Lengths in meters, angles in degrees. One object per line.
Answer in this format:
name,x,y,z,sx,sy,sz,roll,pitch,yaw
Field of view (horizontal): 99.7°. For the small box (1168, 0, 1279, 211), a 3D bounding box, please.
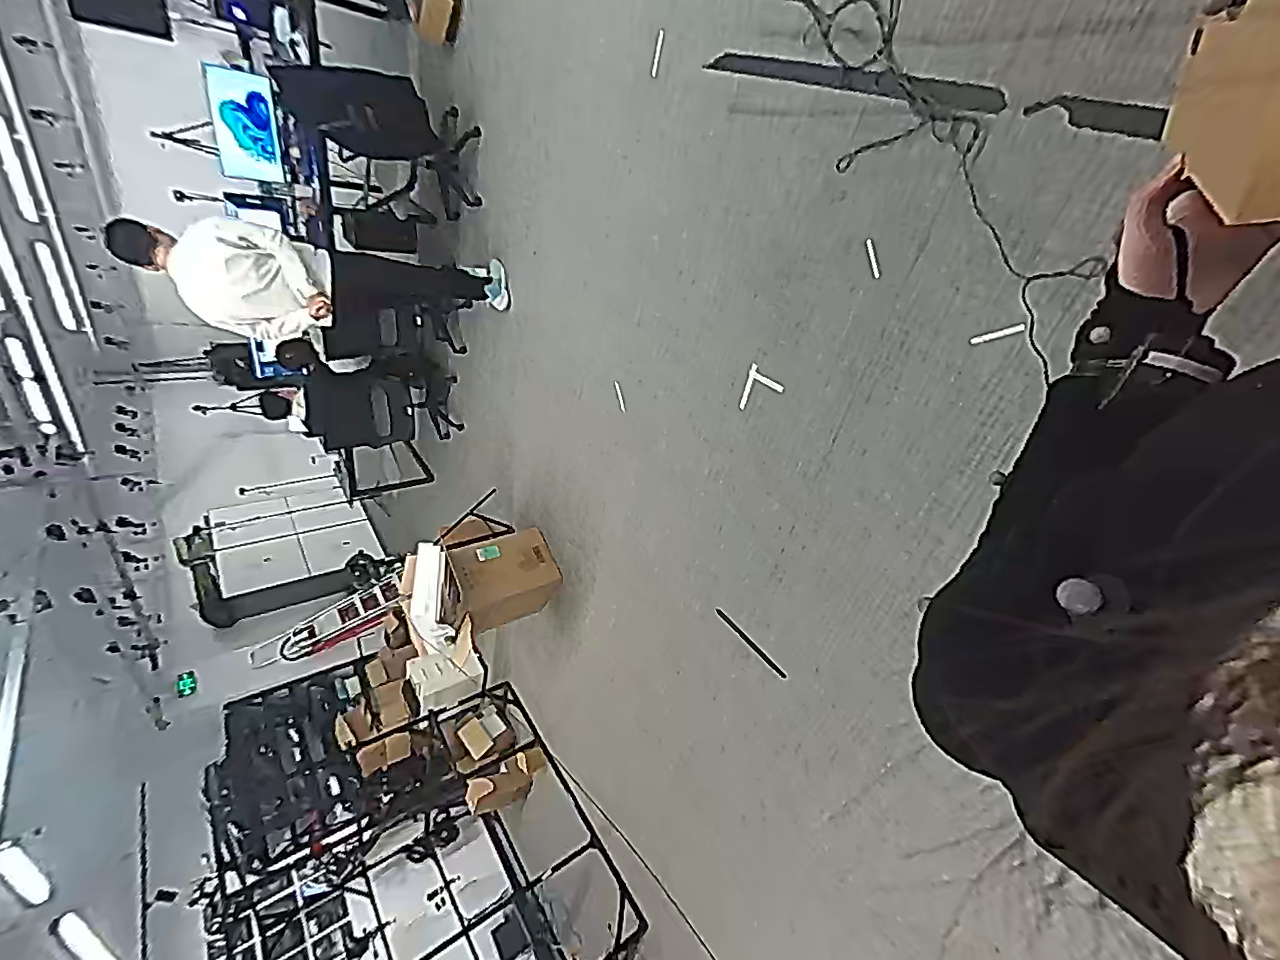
small box,0.377,-0.241,0.233,0.179,0.176,0.168,4,134,29
